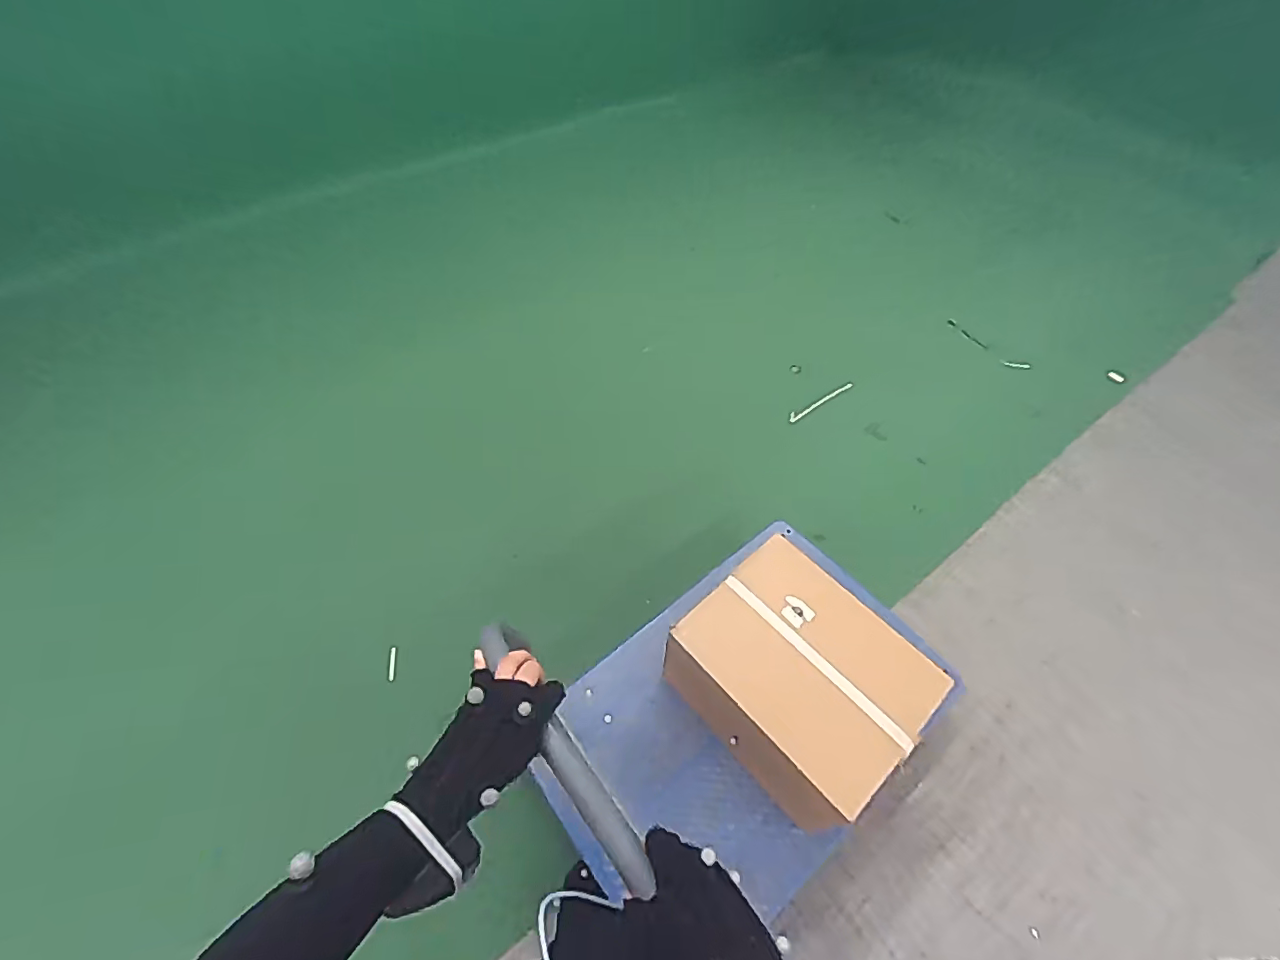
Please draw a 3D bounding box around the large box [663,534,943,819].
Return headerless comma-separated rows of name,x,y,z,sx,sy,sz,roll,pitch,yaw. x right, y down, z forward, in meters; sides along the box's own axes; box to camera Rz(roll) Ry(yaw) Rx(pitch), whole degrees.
large box,0.294,0.396,1.097,0.320,0.320,0.408,-36,62,-23
